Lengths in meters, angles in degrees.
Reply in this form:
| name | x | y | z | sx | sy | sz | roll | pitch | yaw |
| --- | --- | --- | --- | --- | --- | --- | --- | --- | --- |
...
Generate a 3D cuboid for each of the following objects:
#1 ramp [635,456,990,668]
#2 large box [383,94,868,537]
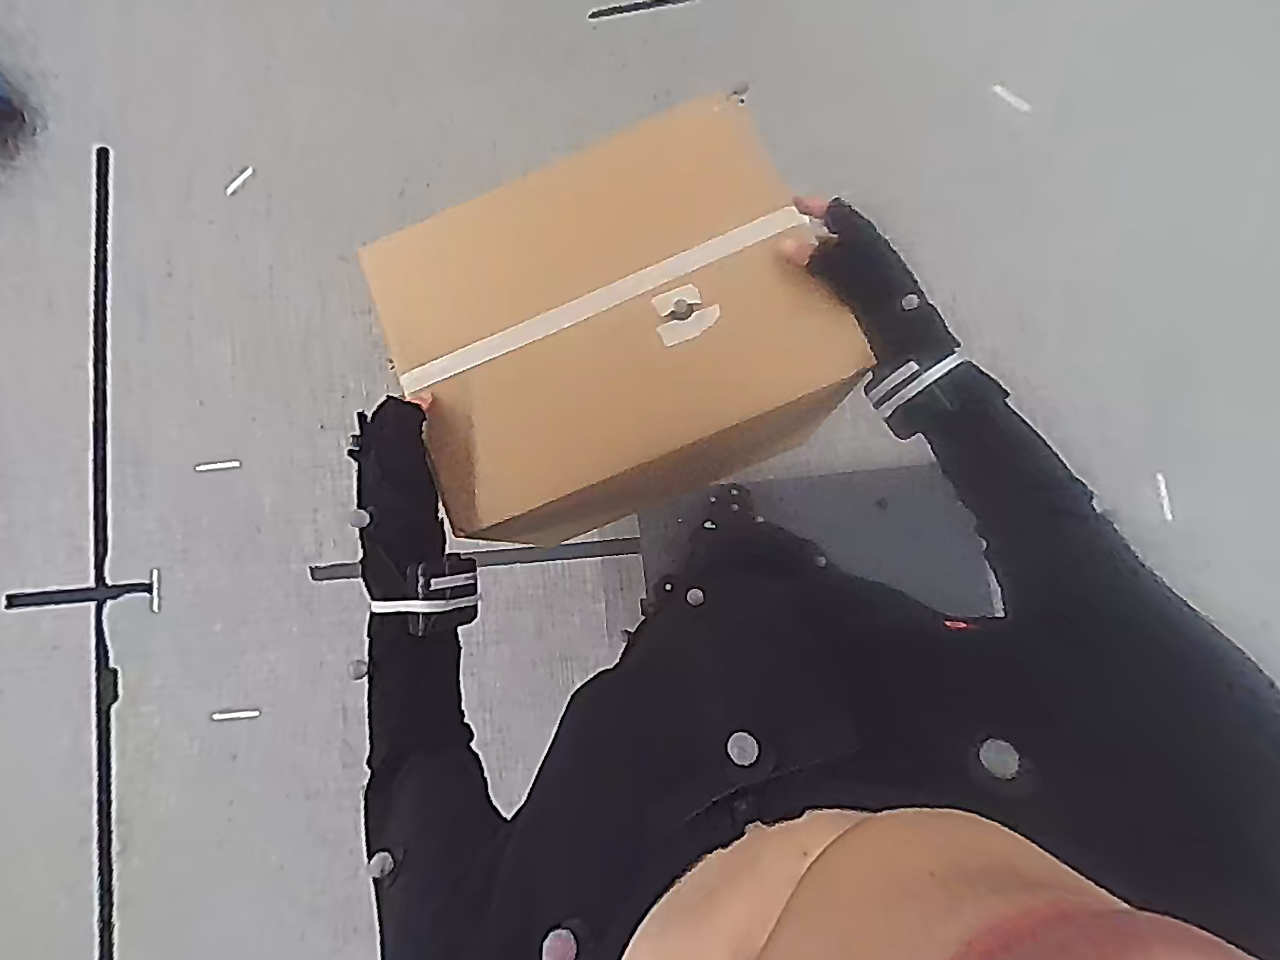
| name | x | y | z | sx | sy | sz | roll | pitch | yaw |
| --- | --- | --- | --- | --- | --- | --- | --- | --- | --- |
| ramp | 0.499 | 0.215 | 1.543 | 0.991 | 0.206 | 0.509 | -9 | 83 | 3 |
| large box | -0.015 | -0.152 | 0.666 | 0.408 | 0.320 | 0.320 | -22 | 80 | 2 |
